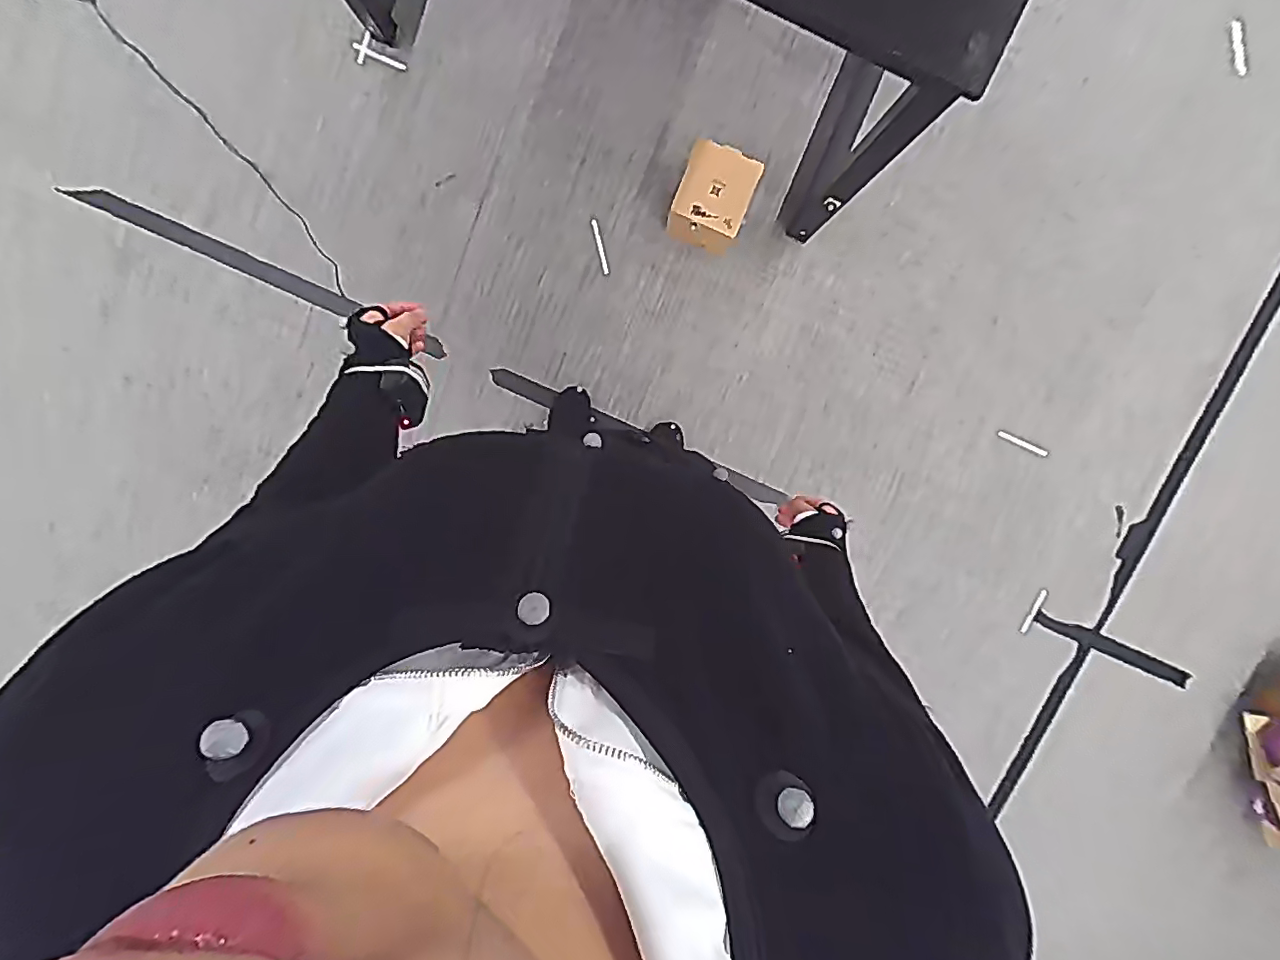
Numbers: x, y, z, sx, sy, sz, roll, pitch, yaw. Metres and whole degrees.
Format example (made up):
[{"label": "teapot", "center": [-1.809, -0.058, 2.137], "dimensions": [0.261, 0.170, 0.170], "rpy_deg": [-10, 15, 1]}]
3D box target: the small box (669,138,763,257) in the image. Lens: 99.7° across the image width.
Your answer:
[{"label": "small box", "center": [0.175, -0.677, 1.318], "dimensions": [0.168, 0.176, 0.179], "rpy_deg": [22, 97, -3]}]
